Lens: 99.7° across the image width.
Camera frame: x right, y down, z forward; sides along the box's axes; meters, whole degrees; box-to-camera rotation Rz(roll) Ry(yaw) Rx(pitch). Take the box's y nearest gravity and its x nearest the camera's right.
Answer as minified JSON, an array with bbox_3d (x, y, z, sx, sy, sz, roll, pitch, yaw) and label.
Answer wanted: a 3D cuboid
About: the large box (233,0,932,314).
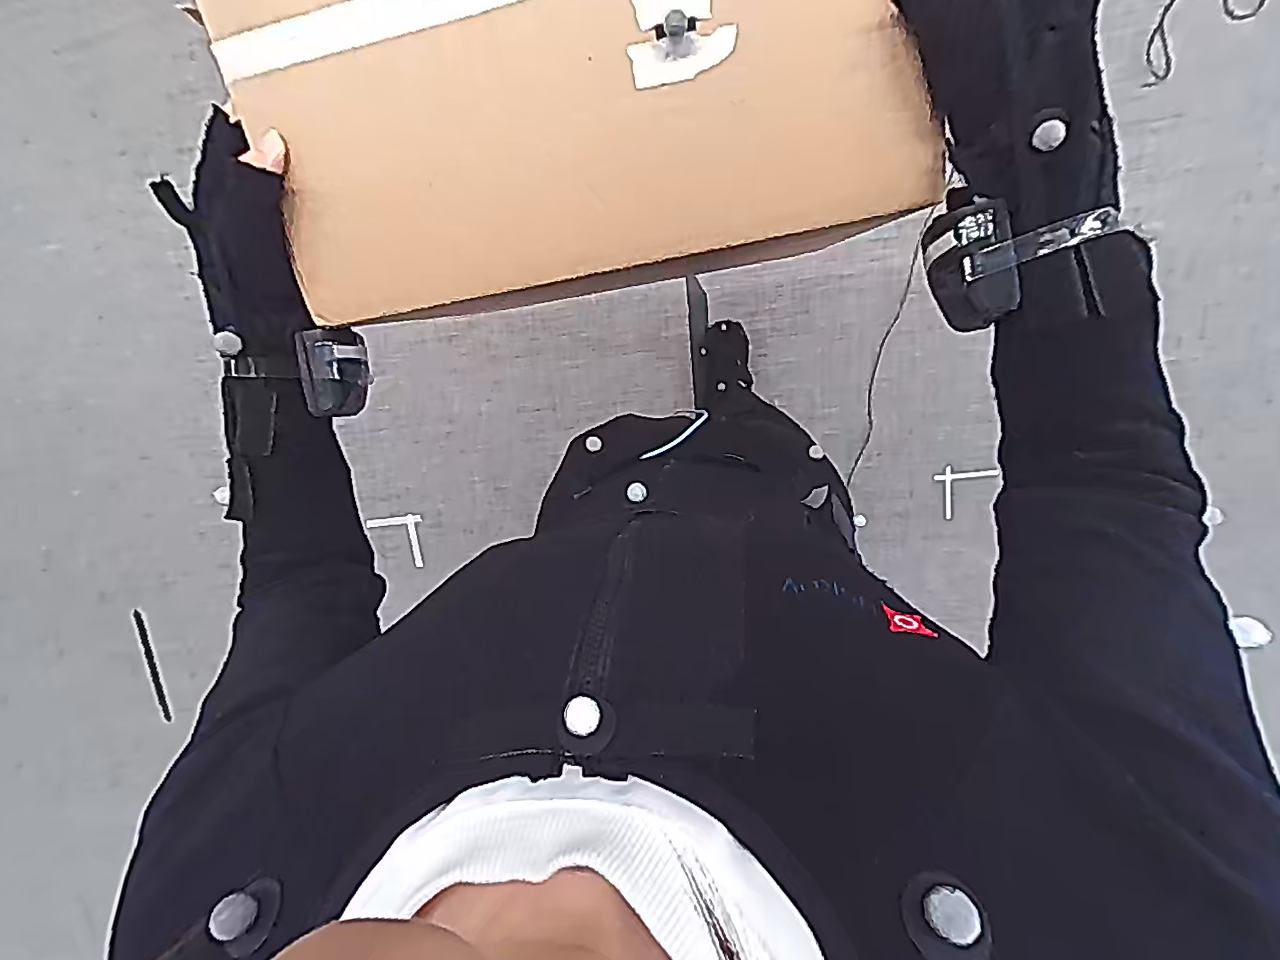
[{"bbox_3d":[-0.036,-0.338,0.448,0.408,0.320,0.320,-9,109,8],"label":"large box"}]

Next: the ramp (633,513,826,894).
[{"bbox_3d":[0.231,0.592,1.455,0.509,0.206,0.991,-3,99,9],"label":"ramp"}]
